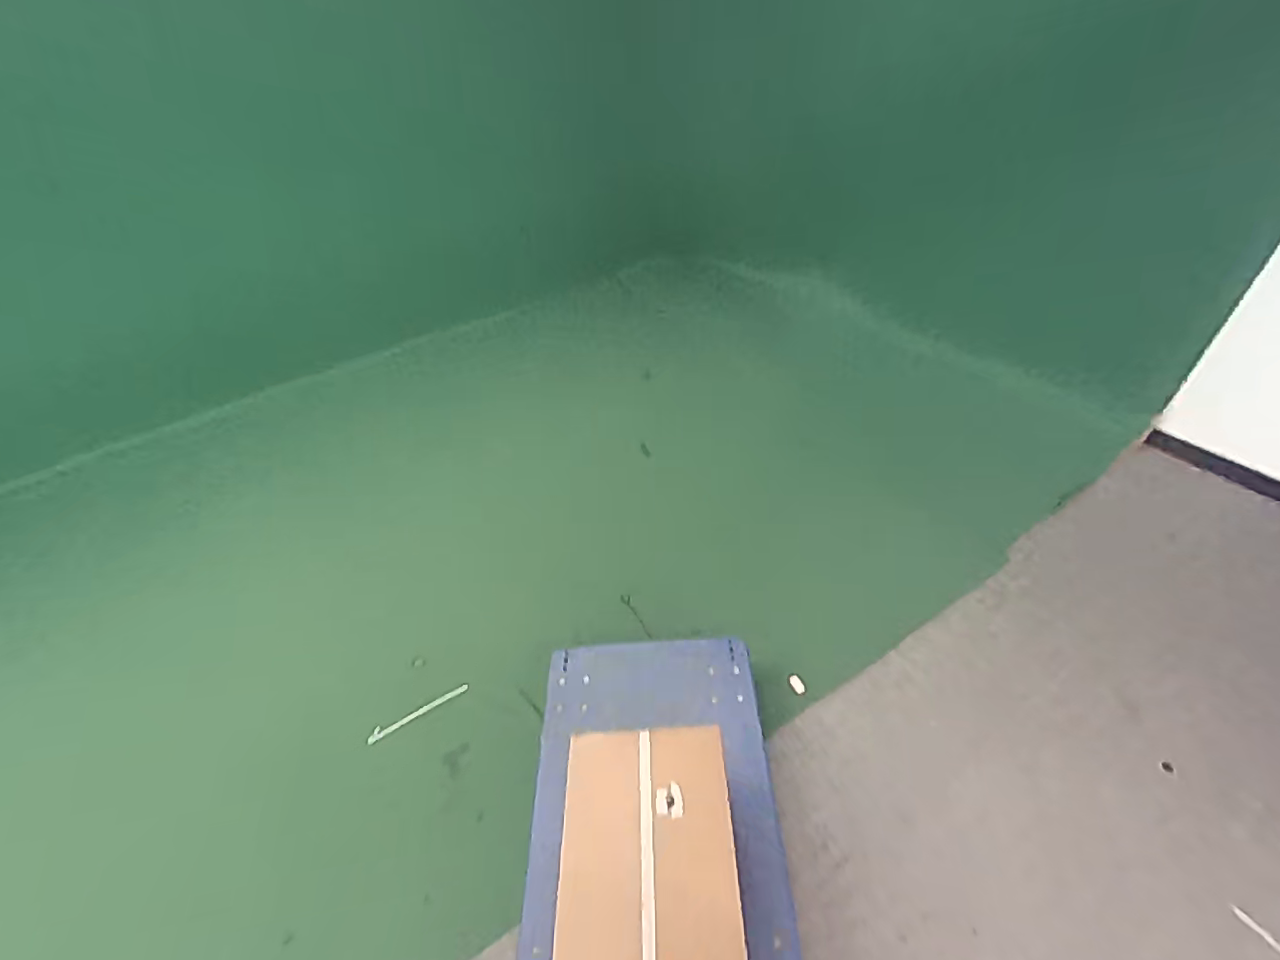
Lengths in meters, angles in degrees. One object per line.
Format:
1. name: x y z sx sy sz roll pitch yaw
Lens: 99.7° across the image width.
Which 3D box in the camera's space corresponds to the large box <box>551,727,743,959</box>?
1. large box: 0.022 0.772 1.088 0.320 0.320 0.408 -5 42 4
